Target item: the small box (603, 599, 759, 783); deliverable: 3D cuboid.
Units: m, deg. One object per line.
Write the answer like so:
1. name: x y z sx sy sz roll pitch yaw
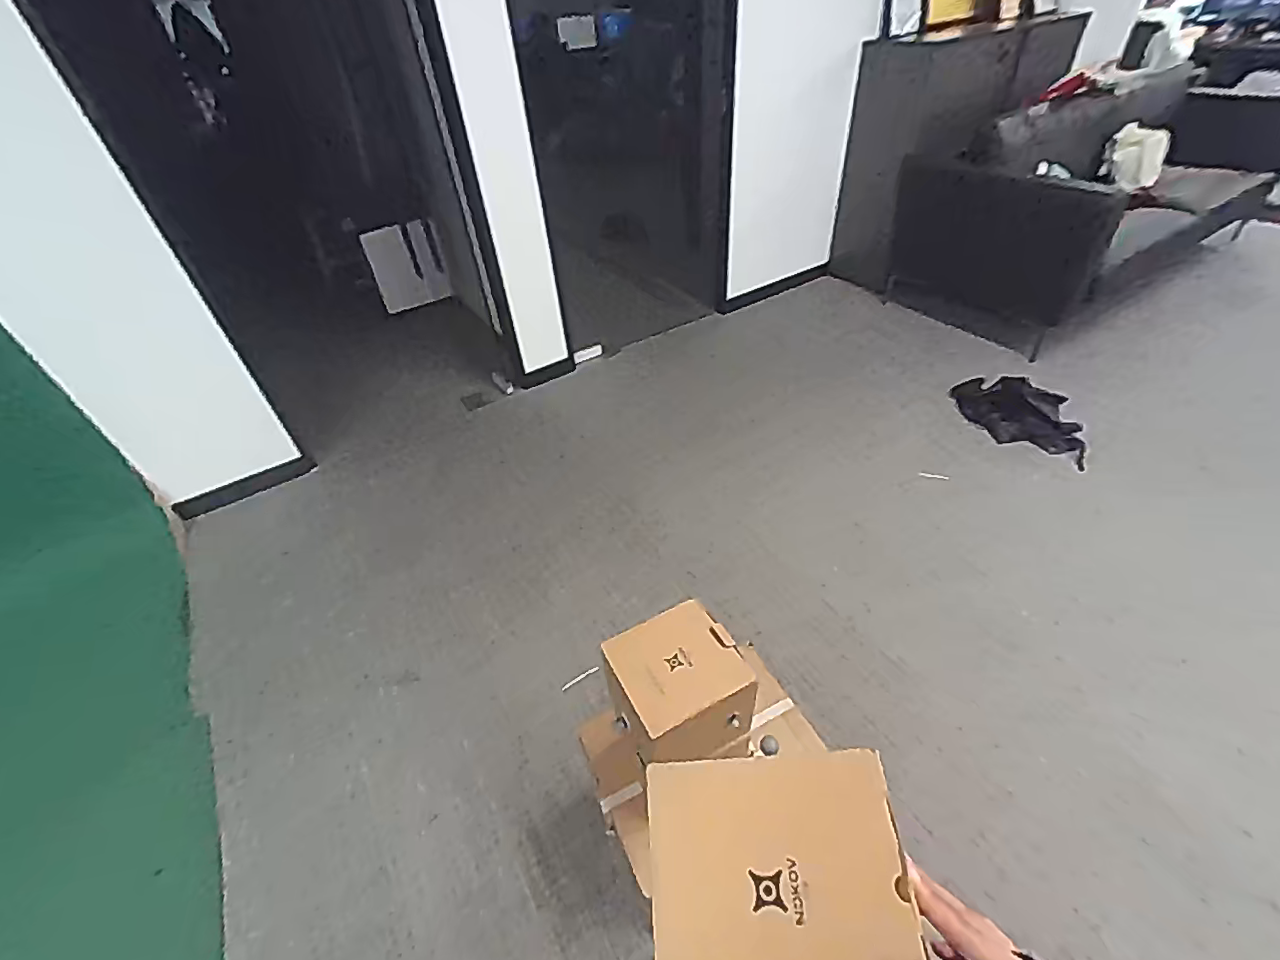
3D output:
1. small box: 0.060 0.324 0.834 0.179 0.176 0.168 -23 43 -18

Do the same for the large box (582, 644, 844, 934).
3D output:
1. large box: 0.134 0.619 1.108 0.408 0.320 0.320 -20 44 -17
